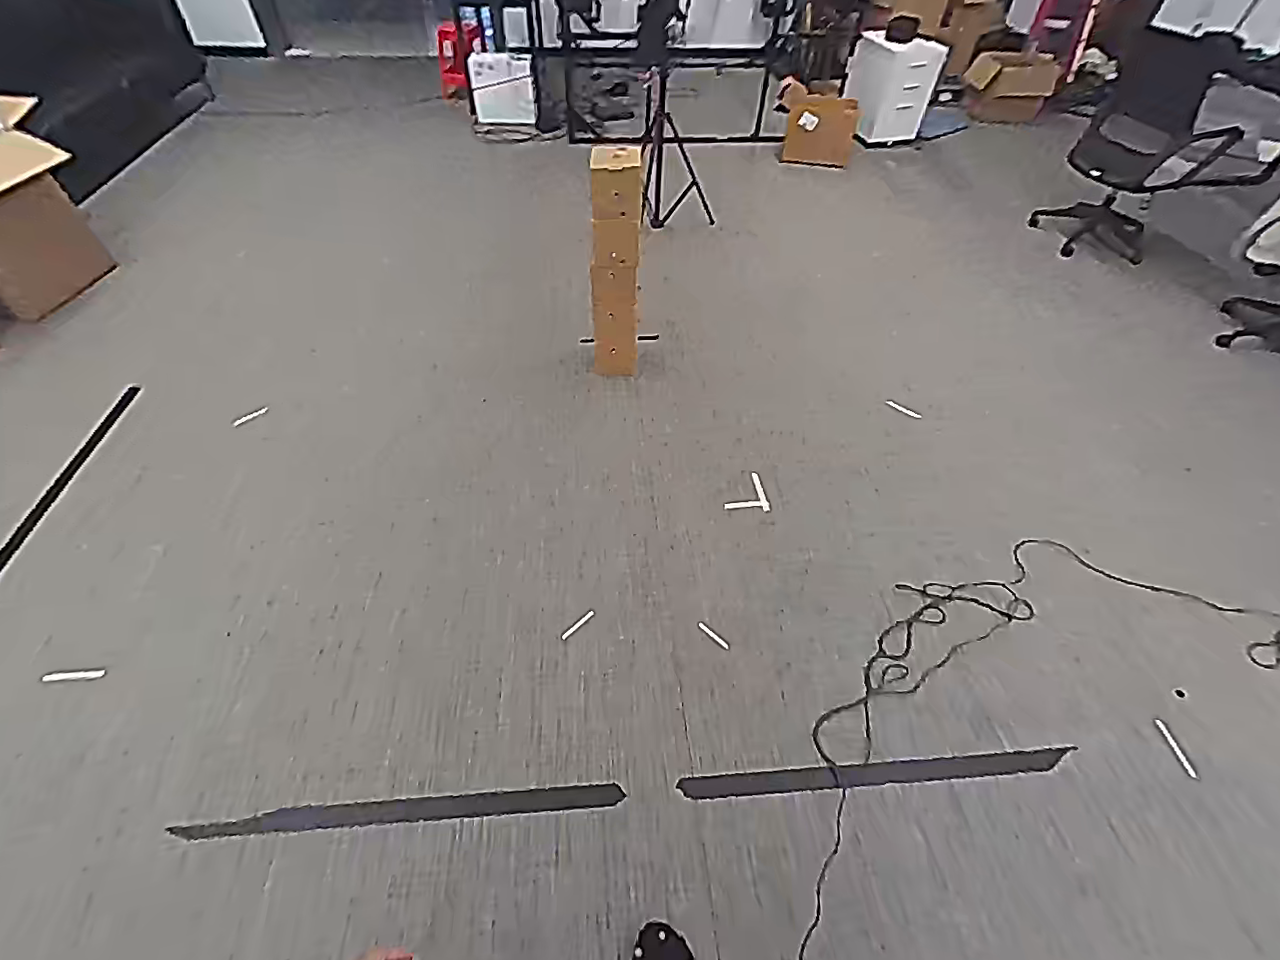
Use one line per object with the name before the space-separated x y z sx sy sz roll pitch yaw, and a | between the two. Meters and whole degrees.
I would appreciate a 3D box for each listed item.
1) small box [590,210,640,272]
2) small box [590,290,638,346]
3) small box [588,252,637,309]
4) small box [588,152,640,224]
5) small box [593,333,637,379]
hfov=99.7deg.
small box | -0.087 -0.876 1.958 0.168 0.176 0.179 1 52 1
small box | -0.103 -0.664 2.205 0.179 0.176 0.168 4 51 3
small box | -0.102 -0.774 2.086 0.179 0.176 0.168 2 51 1
small box | -0.085 -0.988 1.838 0.168 0.176 0.179 0 52 0
small box | -0.104 -0.552 2.325 0.179 0.176 0.168 2 50 1
